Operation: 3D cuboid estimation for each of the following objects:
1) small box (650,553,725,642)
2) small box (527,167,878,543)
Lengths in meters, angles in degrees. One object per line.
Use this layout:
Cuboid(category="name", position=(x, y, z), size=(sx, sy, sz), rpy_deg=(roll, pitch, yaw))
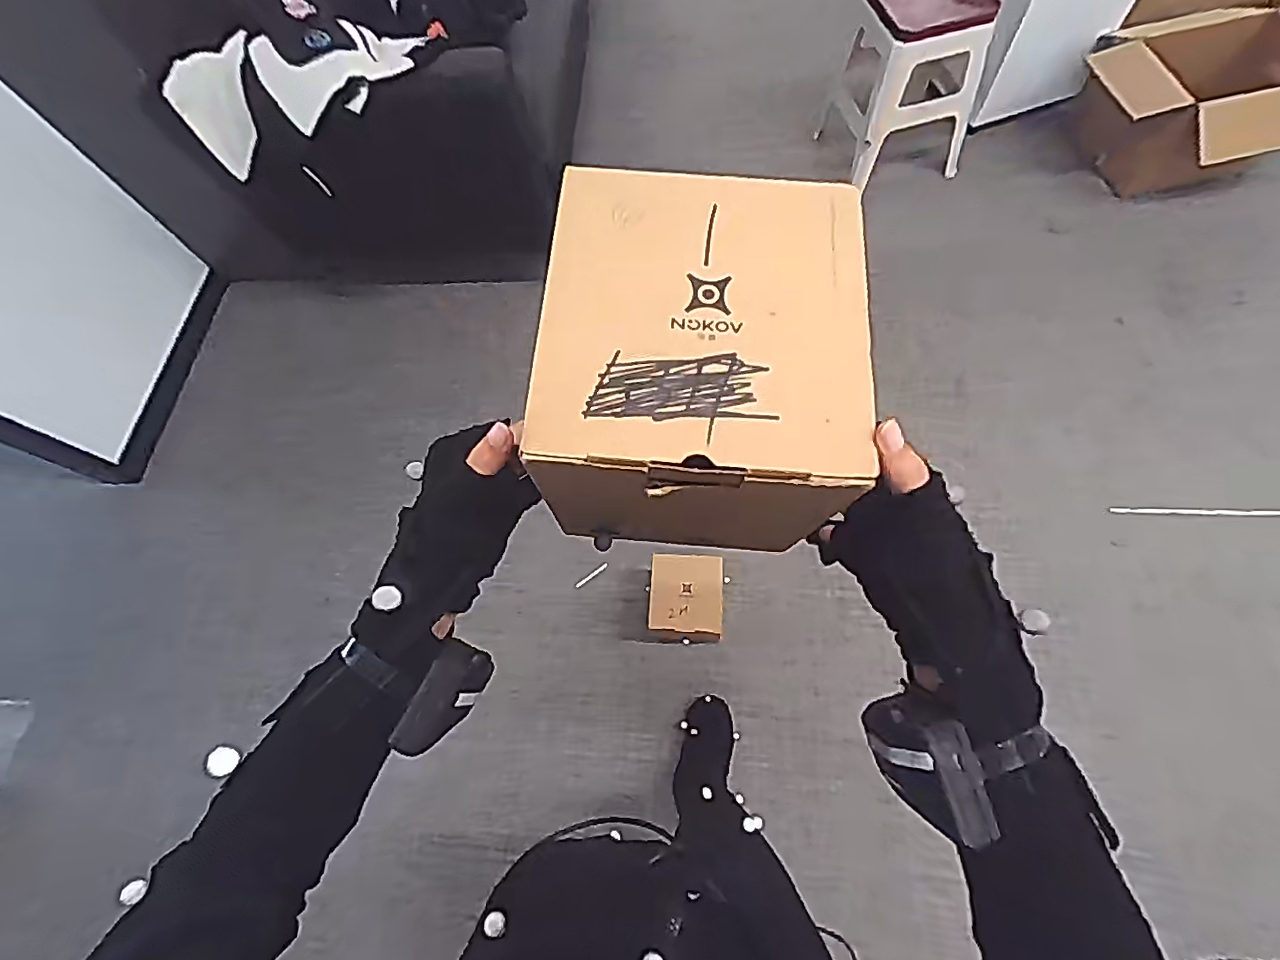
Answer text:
Cuboid(category="small box", position=(0.116, 0.285, 1.298), size=(0.168, 0.176, 0.179), rpy_deg=(1, 68, 8))
Cuboid(category="small box", position=(0.035, -0.062, 0.349), size=(0.168, 0.176, 0.179), rpy_deg=(4, 71, 1))
